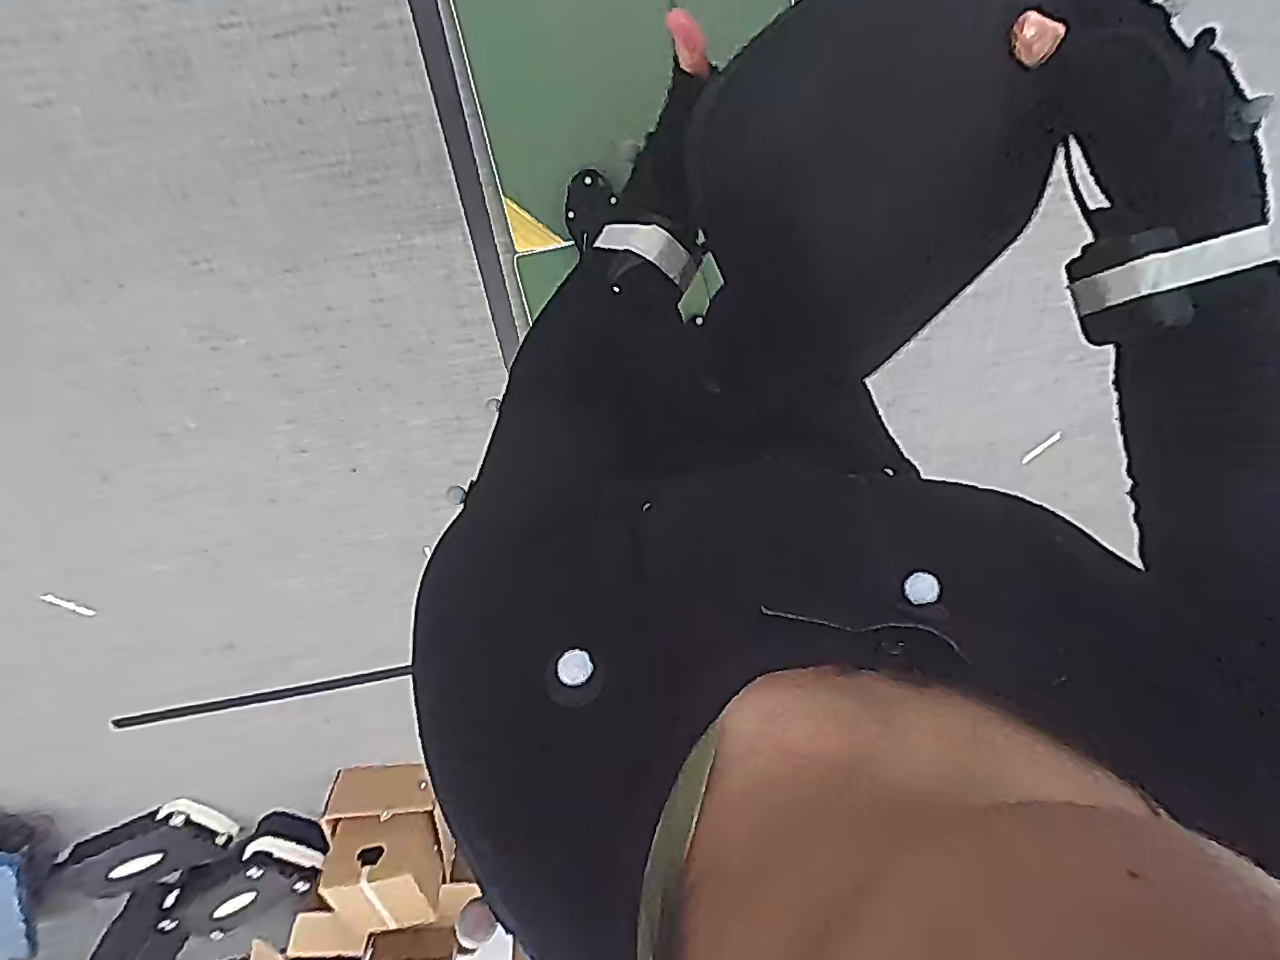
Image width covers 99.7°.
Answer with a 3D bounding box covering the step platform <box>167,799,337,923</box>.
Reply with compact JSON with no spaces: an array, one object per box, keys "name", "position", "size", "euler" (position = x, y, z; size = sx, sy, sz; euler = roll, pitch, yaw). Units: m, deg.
[{"name":"step platform","position":[-1.619,1.603,2.260],"size":[0.684,0.204,0.286],"euler":[-35,121,13]}]
